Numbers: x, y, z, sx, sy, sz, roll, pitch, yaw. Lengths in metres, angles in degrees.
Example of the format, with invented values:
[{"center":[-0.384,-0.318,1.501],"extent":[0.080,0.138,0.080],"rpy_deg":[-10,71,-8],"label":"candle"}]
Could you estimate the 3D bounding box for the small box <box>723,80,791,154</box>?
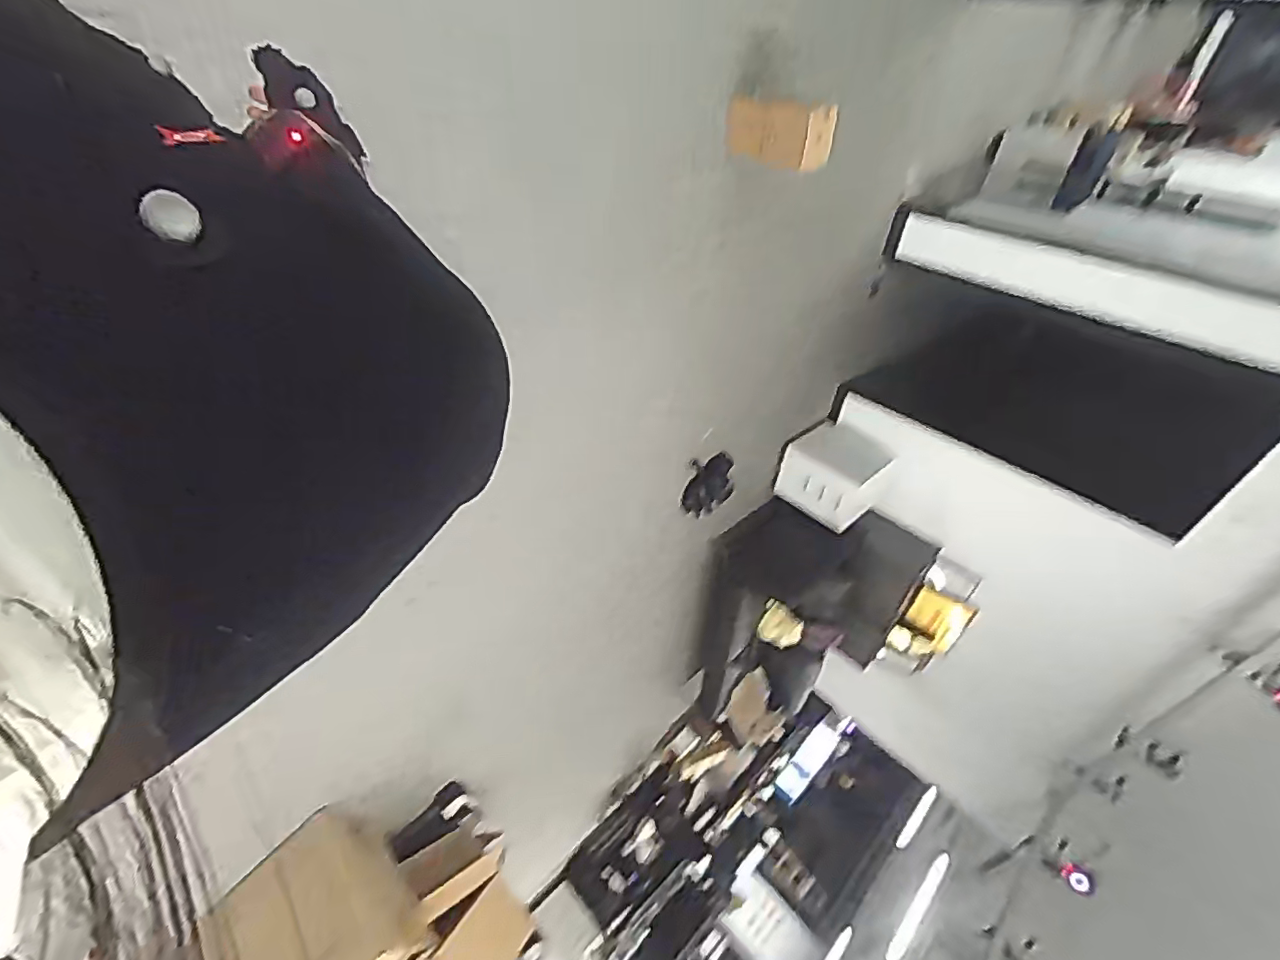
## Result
[{"center":[0.409,-1.285,1.910],"extent":[0.168,0.176,0.179],"rpy_deg":[-37,145,-26],"label":"small box"}]
